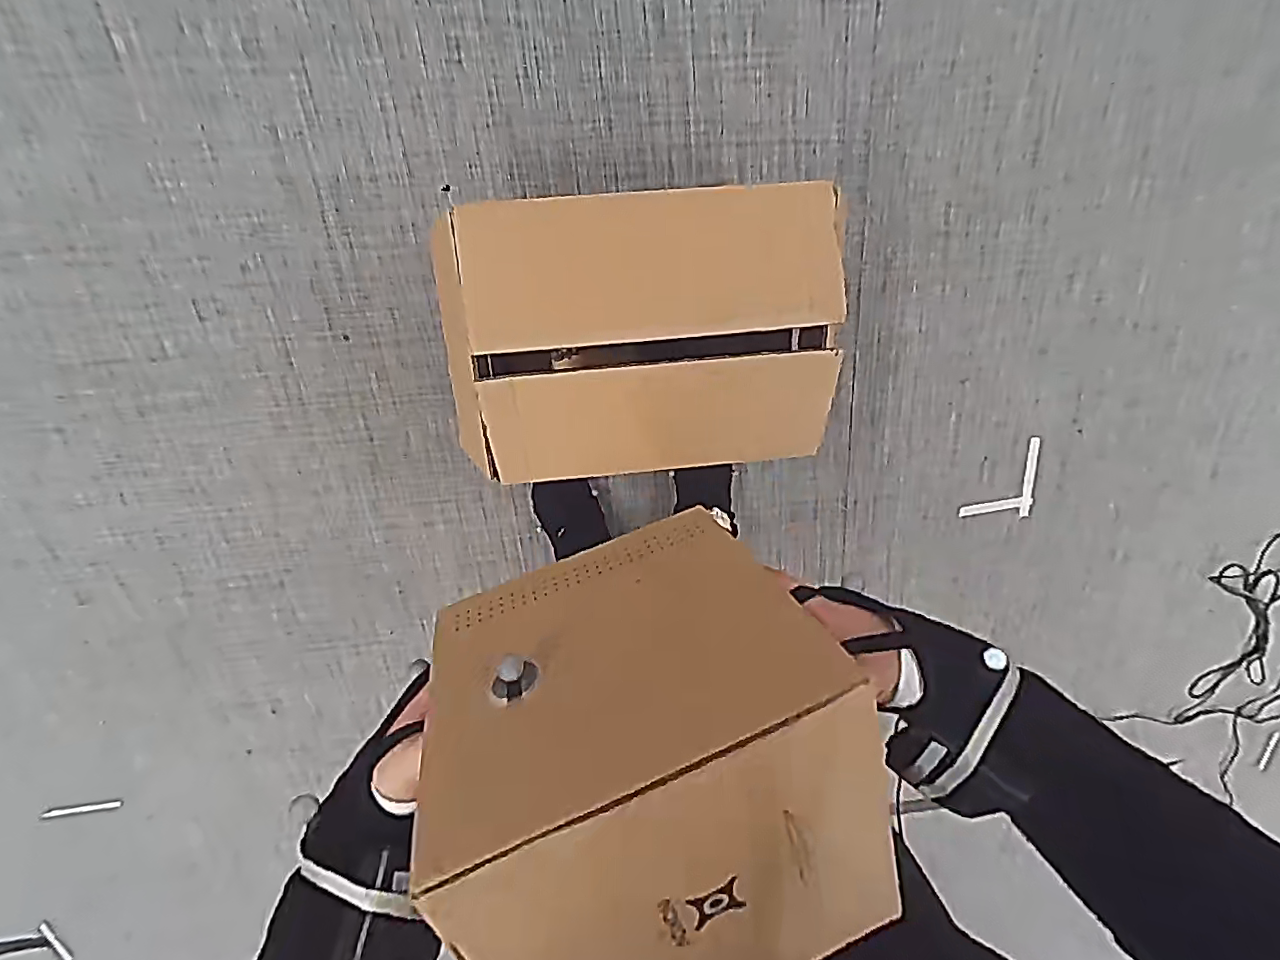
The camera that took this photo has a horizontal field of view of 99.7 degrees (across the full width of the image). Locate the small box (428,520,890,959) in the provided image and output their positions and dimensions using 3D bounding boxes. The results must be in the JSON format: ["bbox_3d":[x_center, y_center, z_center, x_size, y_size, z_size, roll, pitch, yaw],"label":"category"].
[{"bbox_3d":[0.005,0.148,0.303,0.179,0.176,0.168,-21,115,-9],"label":"small box"}]
